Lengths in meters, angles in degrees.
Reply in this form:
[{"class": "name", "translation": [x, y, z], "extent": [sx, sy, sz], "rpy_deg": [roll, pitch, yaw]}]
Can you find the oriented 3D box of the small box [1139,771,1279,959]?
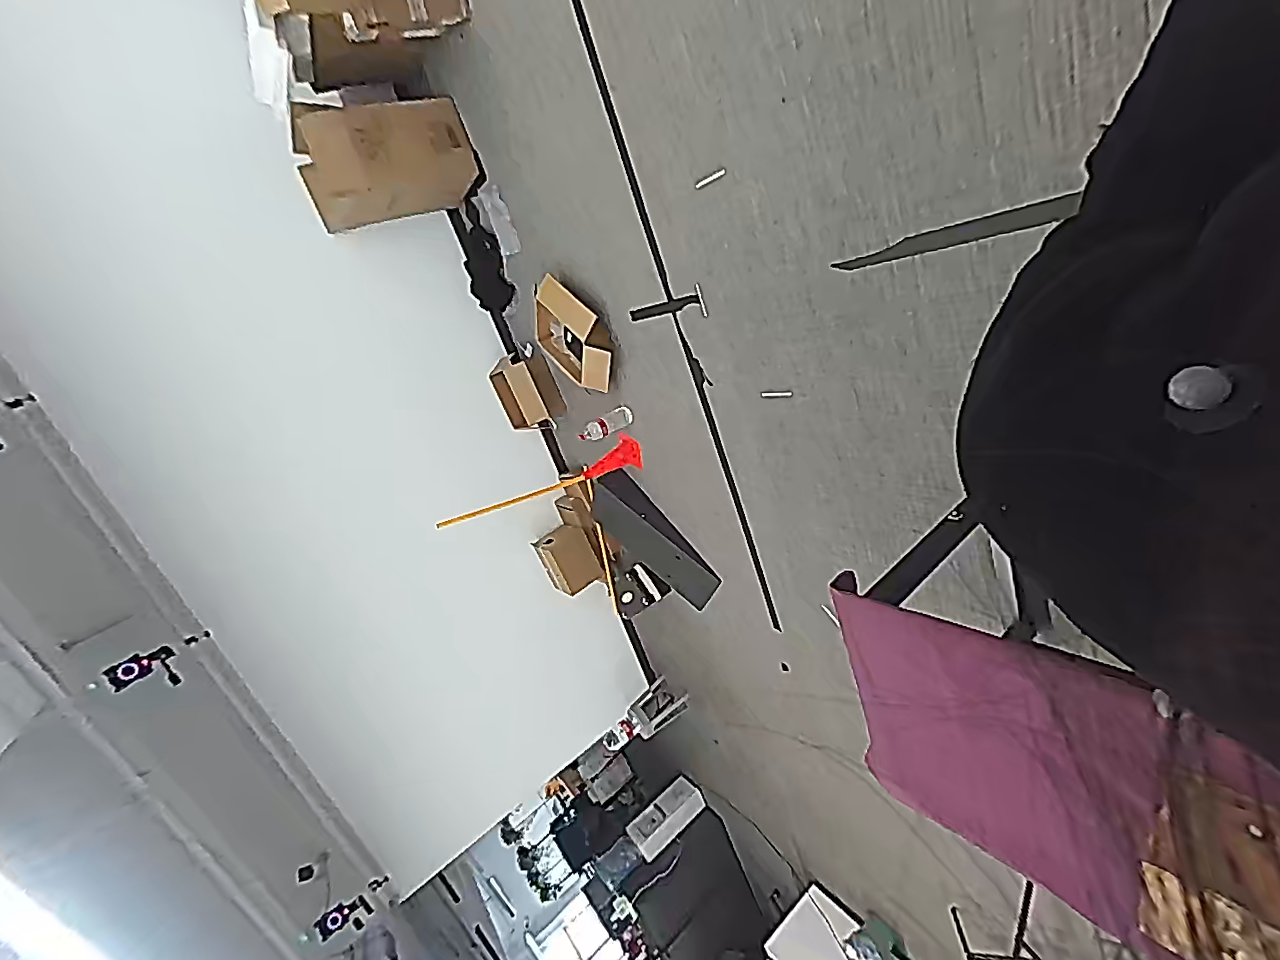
[{"class": "small box", "translation": [0.795, 0.537, 0.712], "extent": [0.168, 0.176, 0.179], "rpy_deg": [13, 129, 54]}]
